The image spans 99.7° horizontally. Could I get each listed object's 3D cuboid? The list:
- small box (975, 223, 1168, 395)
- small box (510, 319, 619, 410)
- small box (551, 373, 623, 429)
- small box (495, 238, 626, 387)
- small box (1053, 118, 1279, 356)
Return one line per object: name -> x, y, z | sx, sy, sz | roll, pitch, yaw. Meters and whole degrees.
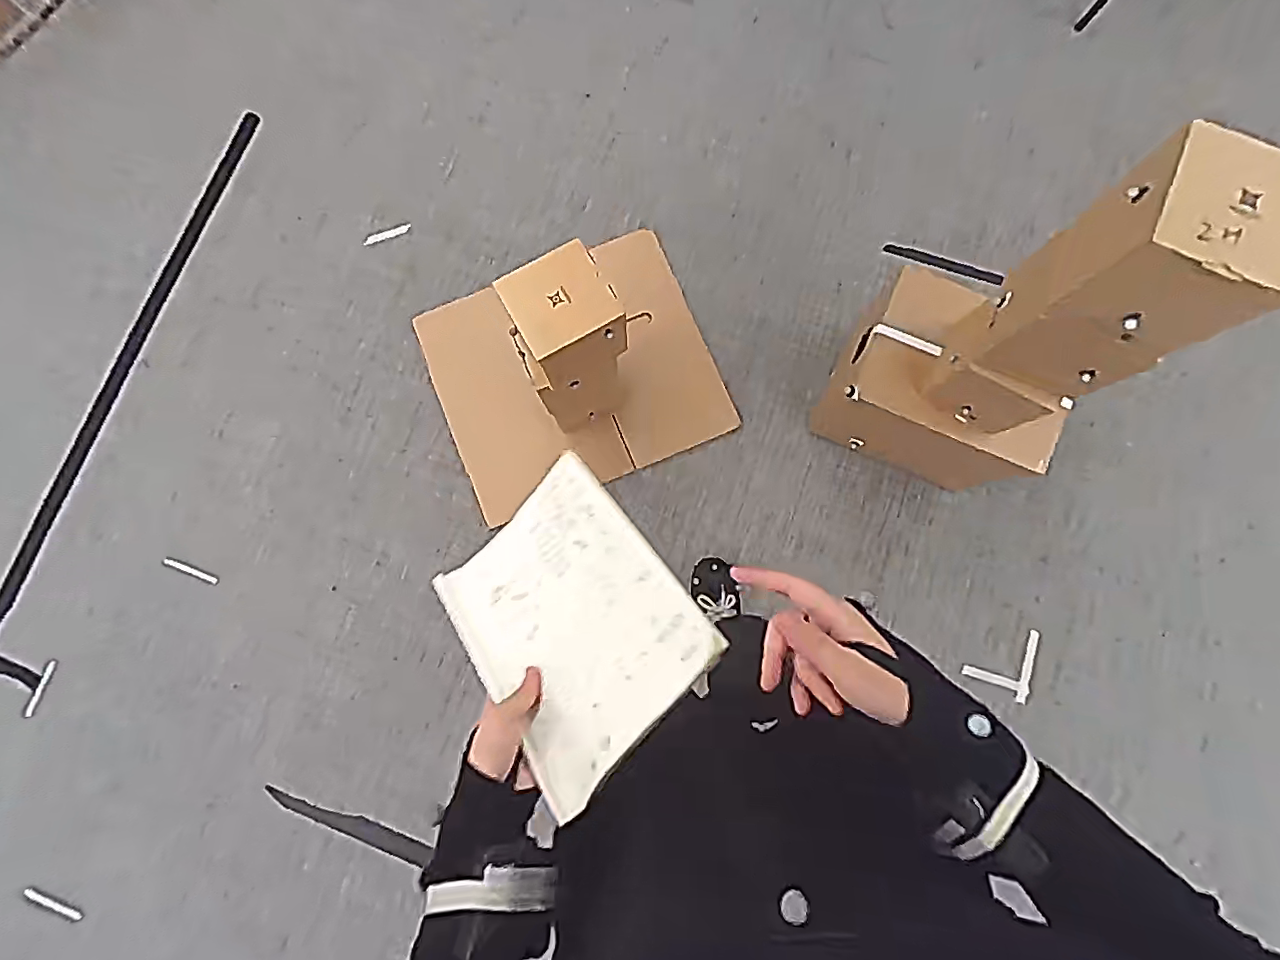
small box -> 0.668, -0.248, 0.831 | 0.179, 0.176, 0.168 | 23, 82, 6
small box -> -0.153, -0.269, 1.156 | 0.179, 0.176, 0.168 | -23, 82, -4
small box -> -0.151, -0.244, 1.319 | 0.179, 0.176, 0.168 | -24, 82, -4
small box -> -0.136, -0.296, 0.996 | 0.179, 0.176, 0.168 | -30, 83, -5
small box -> 0.667, -0.286, 0.671 | 0.168, 0.176, 0.179 | 25, 82, 5
